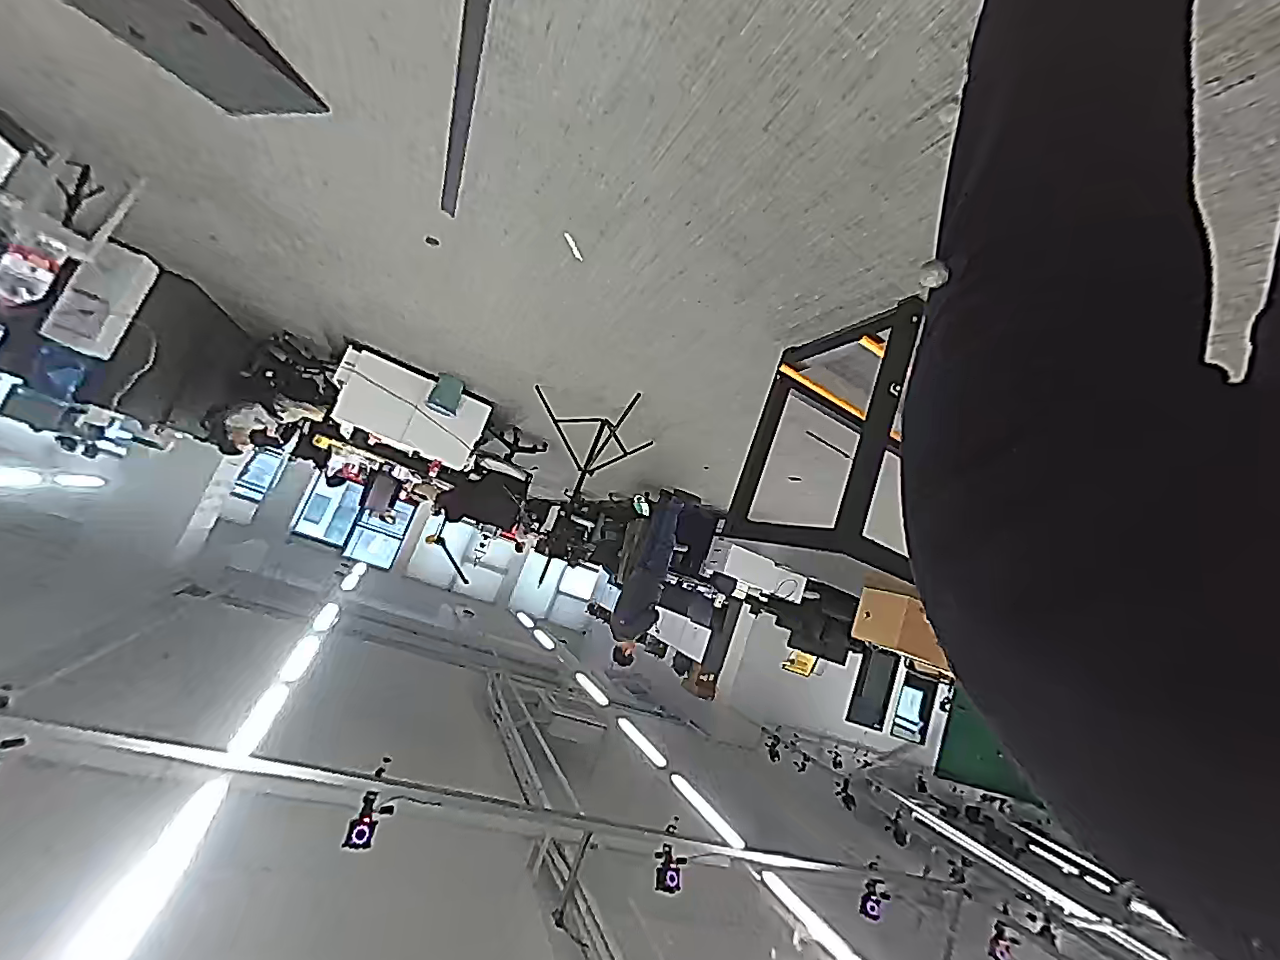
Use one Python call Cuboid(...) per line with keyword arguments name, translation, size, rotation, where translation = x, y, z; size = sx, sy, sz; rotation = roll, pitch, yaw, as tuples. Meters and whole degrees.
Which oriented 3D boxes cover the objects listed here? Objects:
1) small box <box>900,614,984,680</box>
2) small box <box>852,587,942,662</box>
Cuboid(name="small box", translation=(0.993, 0.532, 1.770), size=(0.168, 0.176, 0.179), rotation=(24, 169, -21))
Cuboid(name="small box", translation=(0.803, 0.444, 1.687), size=(0.168, 0.176, 0.179), rotation=(23, 169, -22))
